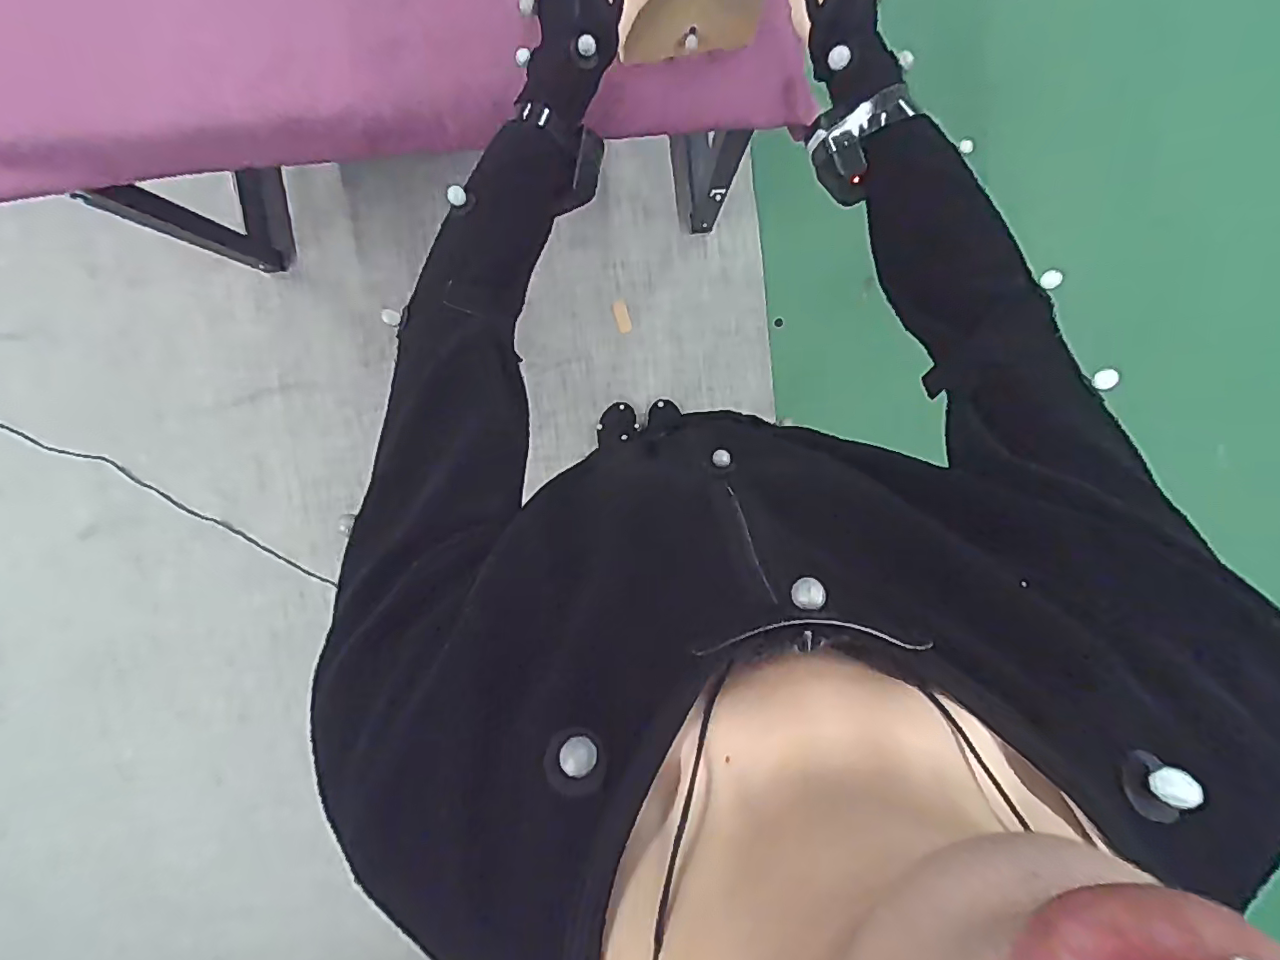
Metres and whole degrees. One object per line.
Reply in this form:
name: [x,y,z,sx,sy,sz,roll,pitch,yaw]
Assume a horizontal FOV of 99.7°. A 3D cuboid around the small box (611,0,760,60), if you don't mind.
small box: [0.050,-0.628,0.616,0.179,0.176,0.168,-10,96,1]
